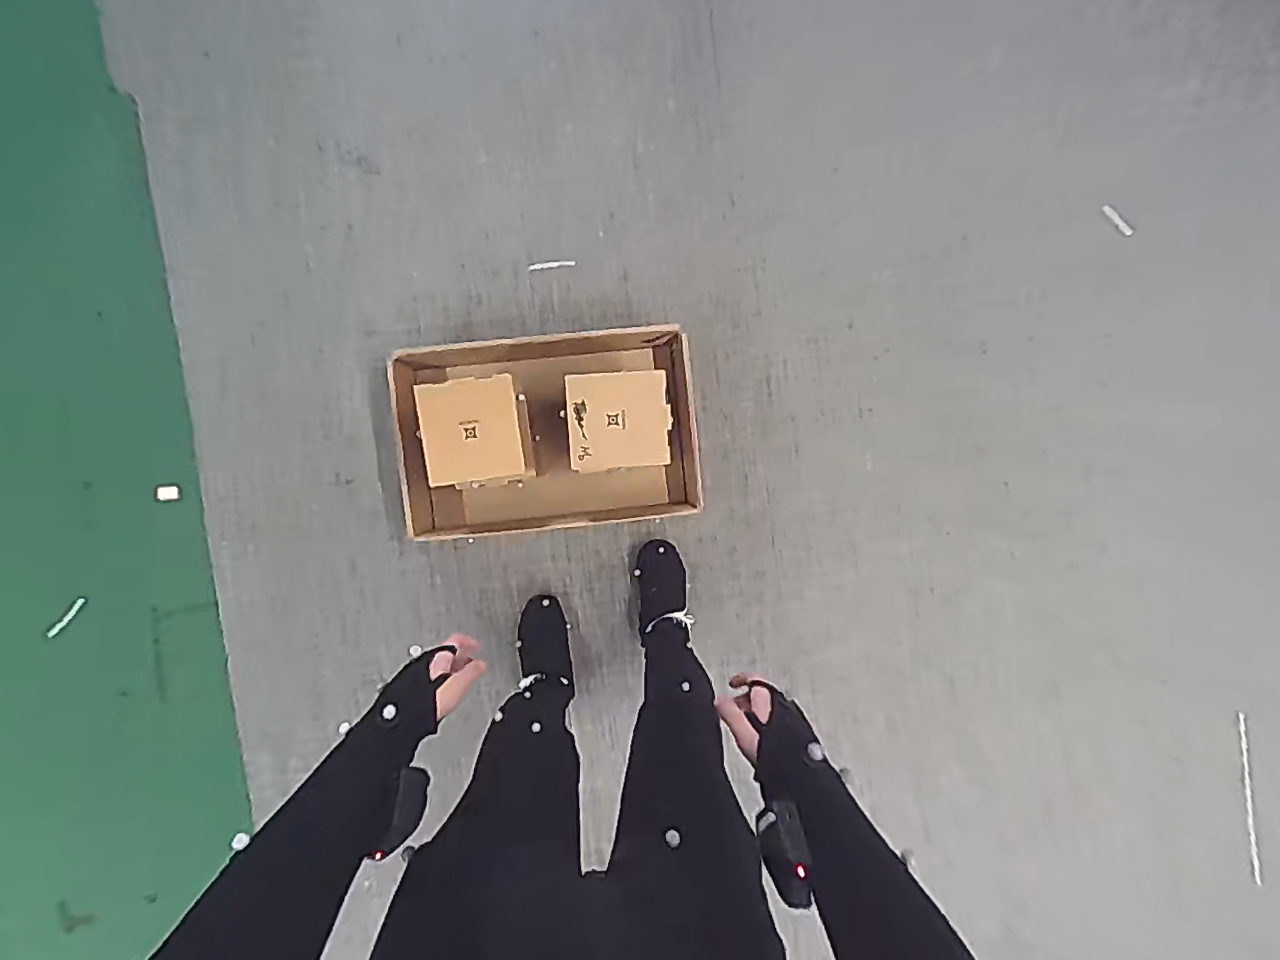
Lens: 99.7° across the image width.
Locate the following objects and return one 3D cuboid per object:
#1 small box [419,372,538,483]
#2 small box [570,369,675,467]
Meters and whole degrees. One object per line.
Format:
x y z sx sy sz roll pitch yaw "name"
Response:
-0.290 -0.094 1.006 0.168 0.176 0.179 -9 92 -4 "small box"
-0.034 -0.113 1.012 0.179 0.176 0.168 -3 93 -2 "small box"
